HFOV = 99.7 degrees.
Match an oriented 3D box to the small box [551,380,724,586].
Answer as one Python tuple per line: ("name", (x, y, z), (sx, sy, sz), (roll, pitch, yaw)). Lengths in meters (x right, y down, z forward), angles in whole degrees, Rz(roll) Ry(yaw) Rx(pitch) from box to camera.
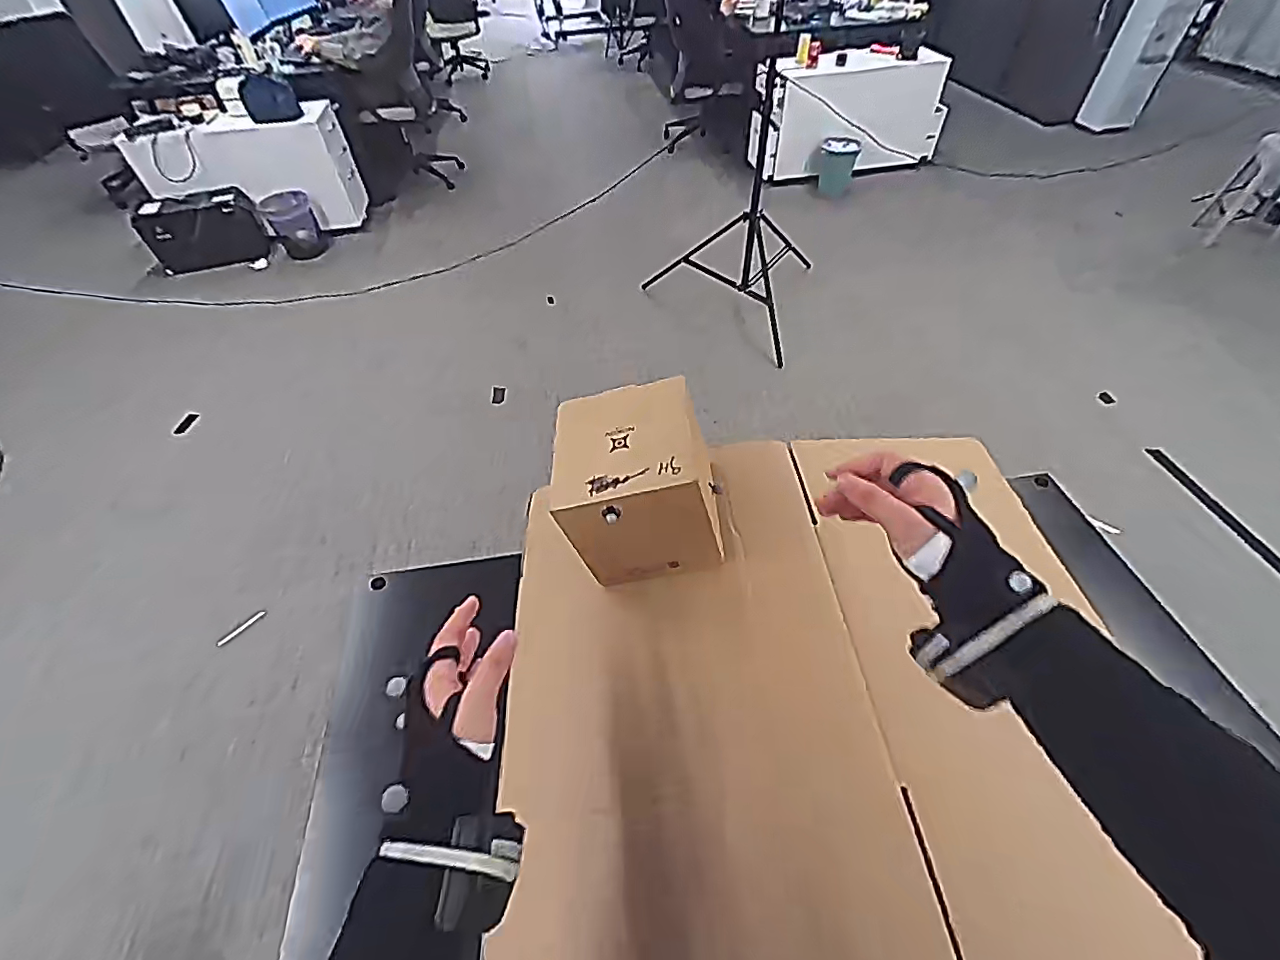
("small box", (0.004, 0.008, 0.679), (0.168, 0.176, 0.179), (-12, 47, 12))
